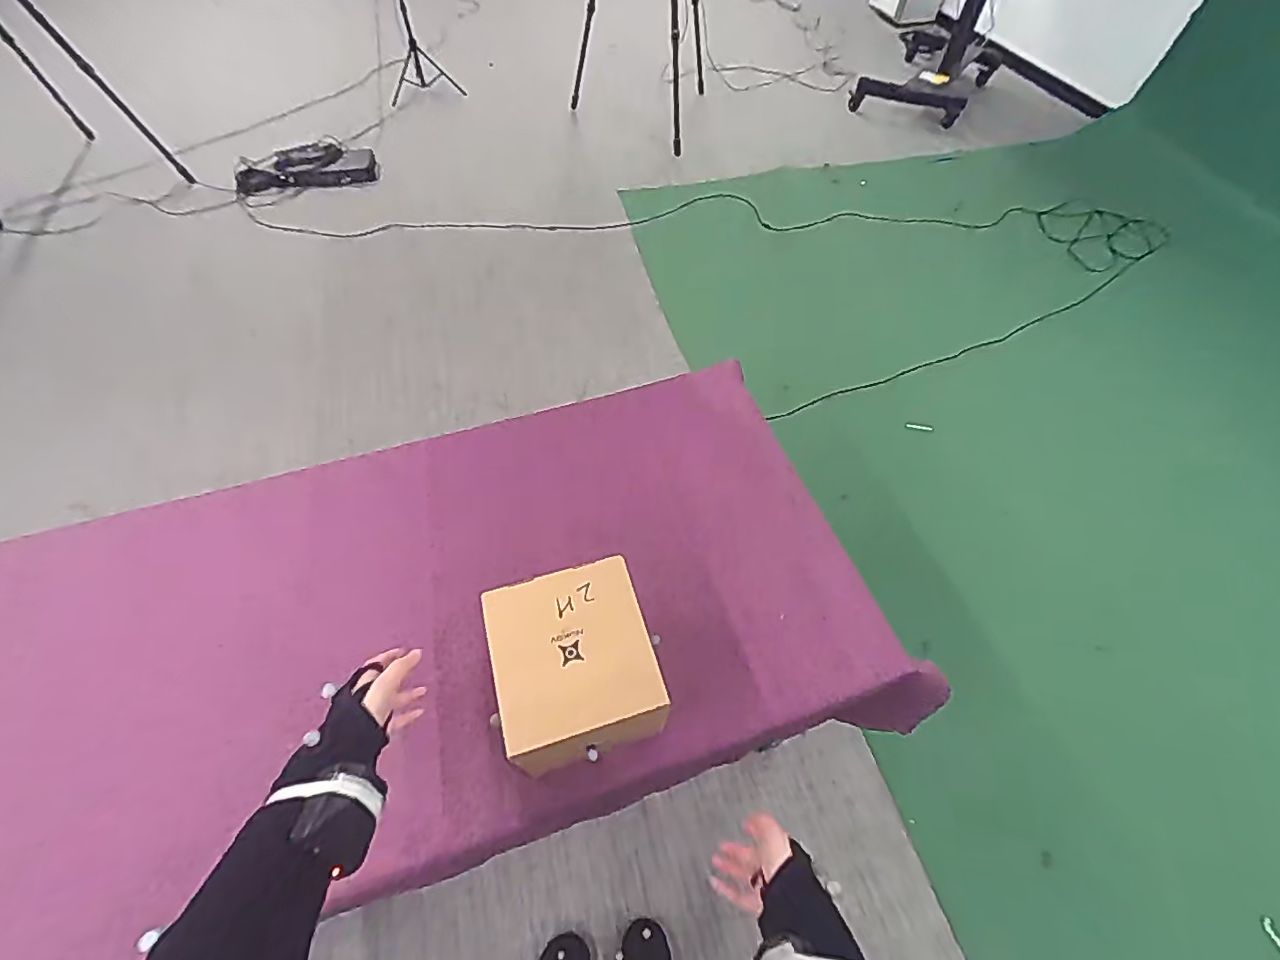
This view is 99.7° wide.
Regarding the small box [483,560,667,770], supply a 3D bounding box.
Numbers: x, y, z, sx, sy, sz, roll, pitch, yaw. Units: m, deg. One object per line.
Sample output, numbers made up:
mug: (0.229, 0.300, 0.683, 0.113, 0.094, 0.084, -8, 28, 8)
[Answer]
small box: (-0.074, 0.223, 0.634, 0.168, 0.176, 0.179, -14, 57, -11)
